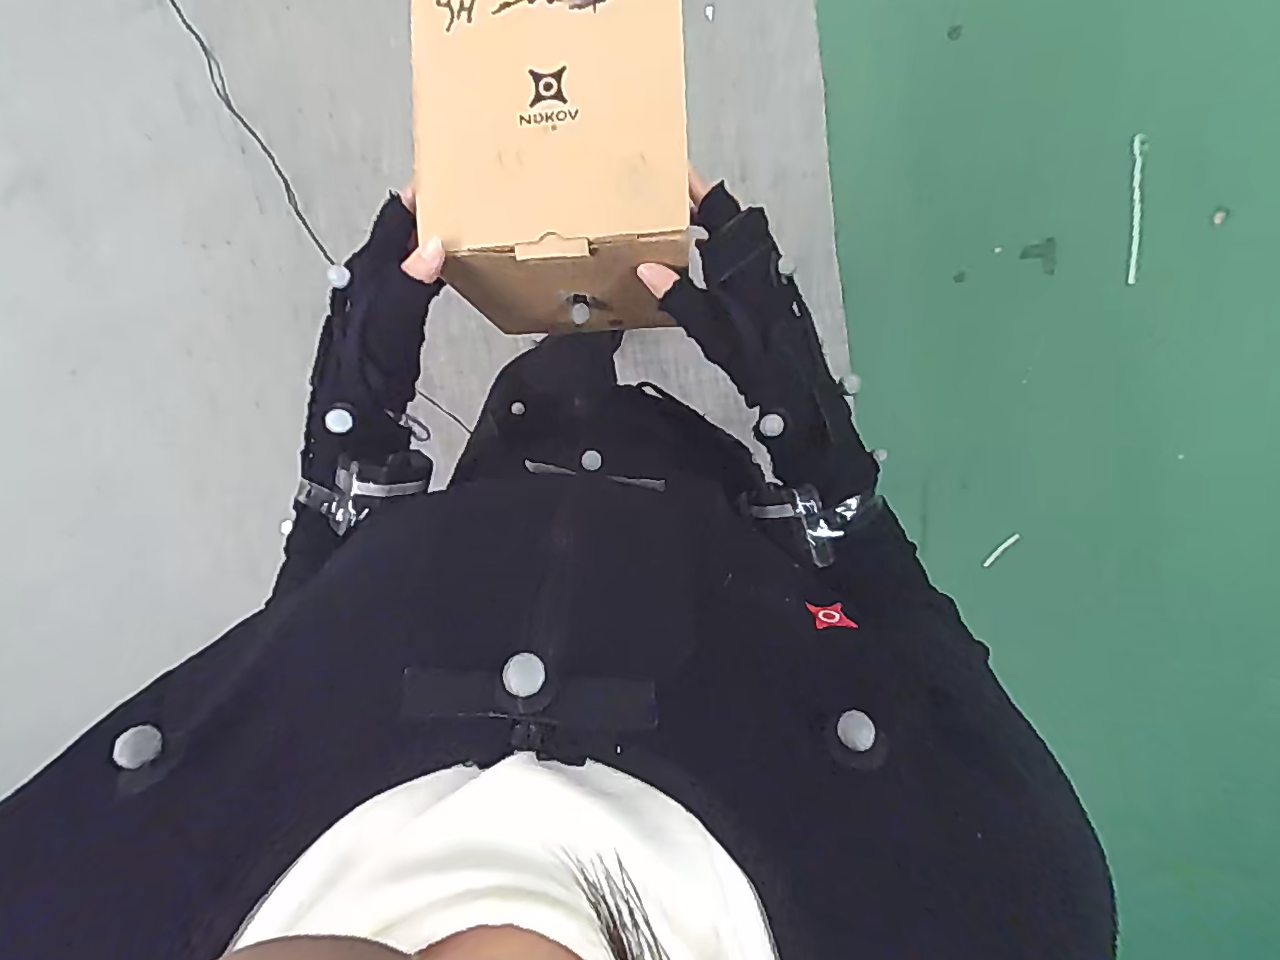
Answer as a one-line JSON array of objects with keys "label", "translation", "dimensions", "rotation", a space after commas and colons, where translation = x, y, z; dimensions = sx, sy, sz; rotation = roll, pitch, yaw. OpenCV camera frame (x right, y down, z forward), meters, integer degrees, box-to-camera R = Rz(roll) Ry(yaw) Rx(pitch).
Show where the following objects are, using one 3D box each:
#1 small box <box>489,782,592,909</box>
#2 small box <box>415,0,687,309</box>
[{"label": "small box", "translation": [-0.220, 0.829, 1.240], "dimensions": [0.179, 0.176, 0.168], "rotation": [-11, 102, 4]}, {"label": "small box", "translation": [-0.049, -0.236, 0.407], "dimensions": [0.168, 0.176, 0.179], "rotation": [-2, 90, 5]}]
